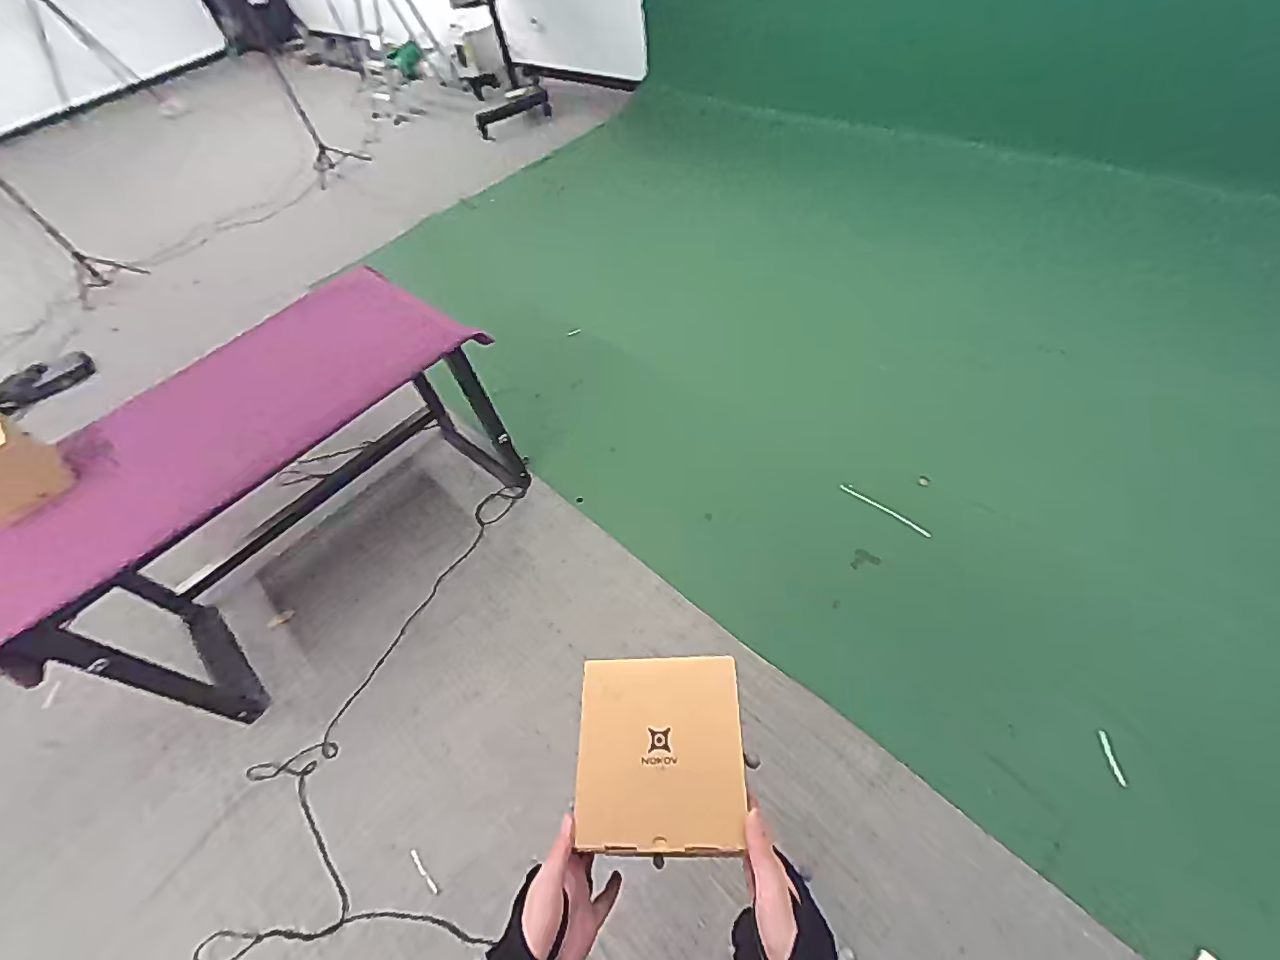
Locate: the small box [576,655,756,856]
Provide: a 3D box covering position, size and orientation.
[{"bbox_3d":[0.031,0.306,0.595,0.168,0.176,0.179,-4,55,5],"label":"small box"}]
